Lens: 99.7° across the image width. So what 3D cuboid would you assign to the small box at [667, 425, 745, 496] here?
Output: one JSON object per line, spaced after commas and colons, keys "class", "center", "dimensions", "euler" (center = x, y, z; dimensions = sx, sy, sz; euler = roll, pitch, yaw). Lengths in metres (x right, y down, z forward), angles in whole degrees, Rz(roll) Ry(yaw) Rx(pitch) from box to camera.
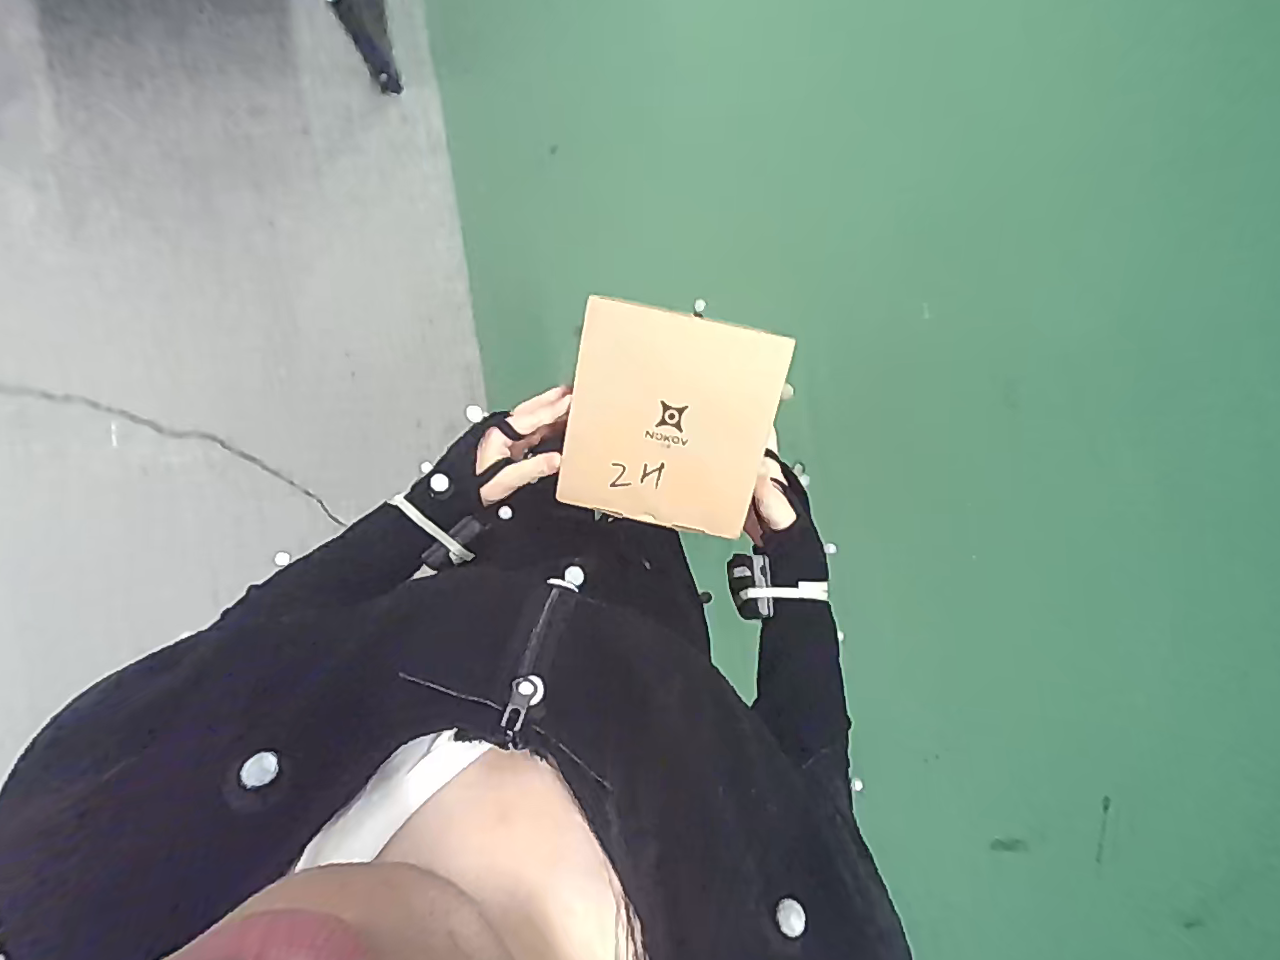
{"class": "small box", "center": [0.168, -0.048, 1.434], "dimensions": [0.179, 0.176, 0.168], "euler": [-8, 91, -2]}
